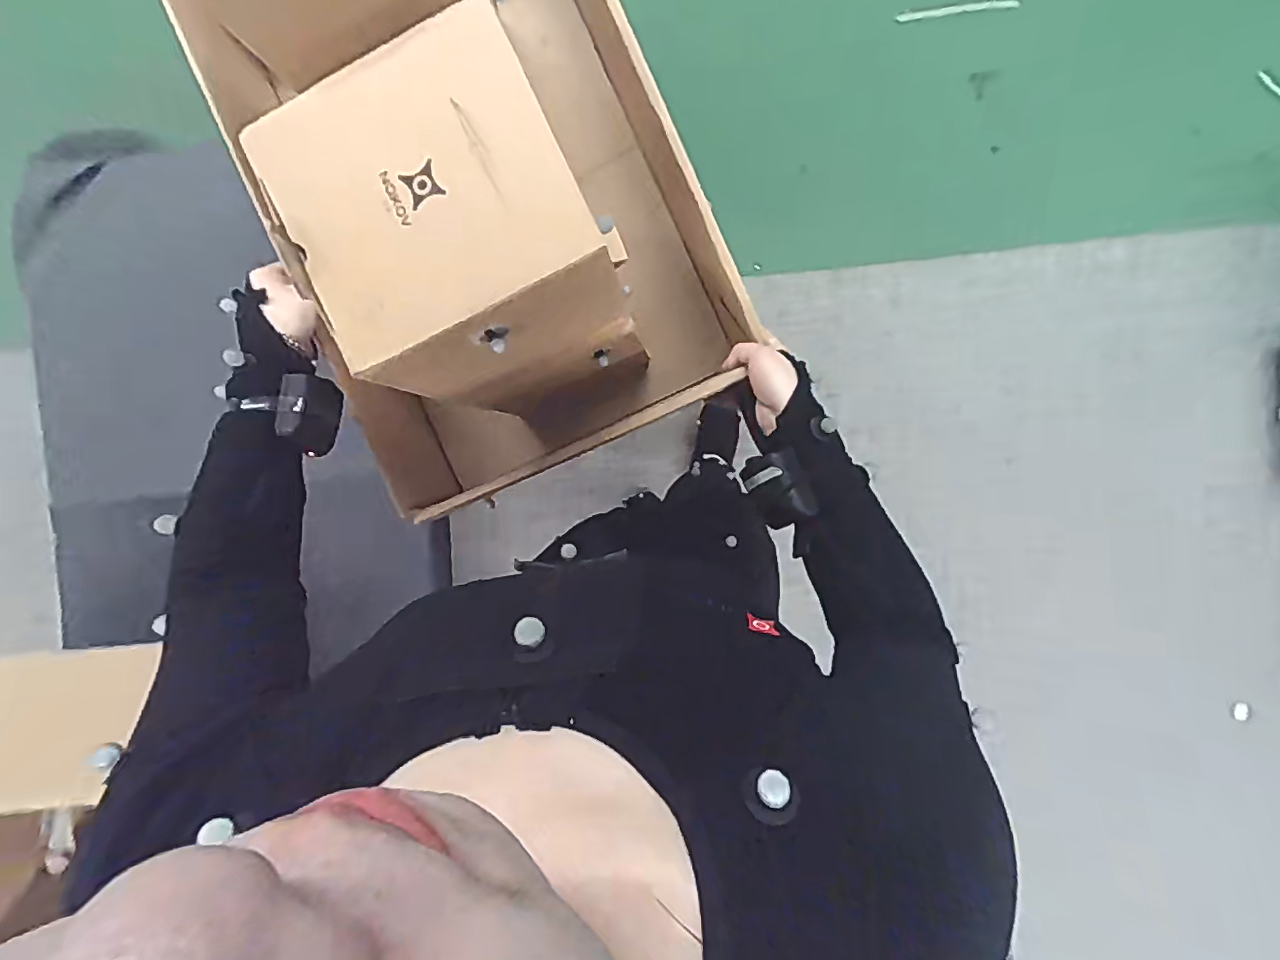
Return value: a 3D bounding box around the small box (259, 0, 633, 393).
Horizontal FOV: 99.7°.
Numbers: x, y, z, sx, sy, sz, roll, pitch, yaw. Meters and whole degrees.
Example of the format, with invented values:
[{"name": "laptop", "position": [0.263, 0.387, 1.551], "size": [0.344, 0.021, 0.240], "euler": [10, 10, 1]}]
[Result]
[{"name": "small box", "position": [-0.118, -0.177, 0.403], "size": [0.179, 0.176, 0.168], "euler": [-25, 91, 4]}]
